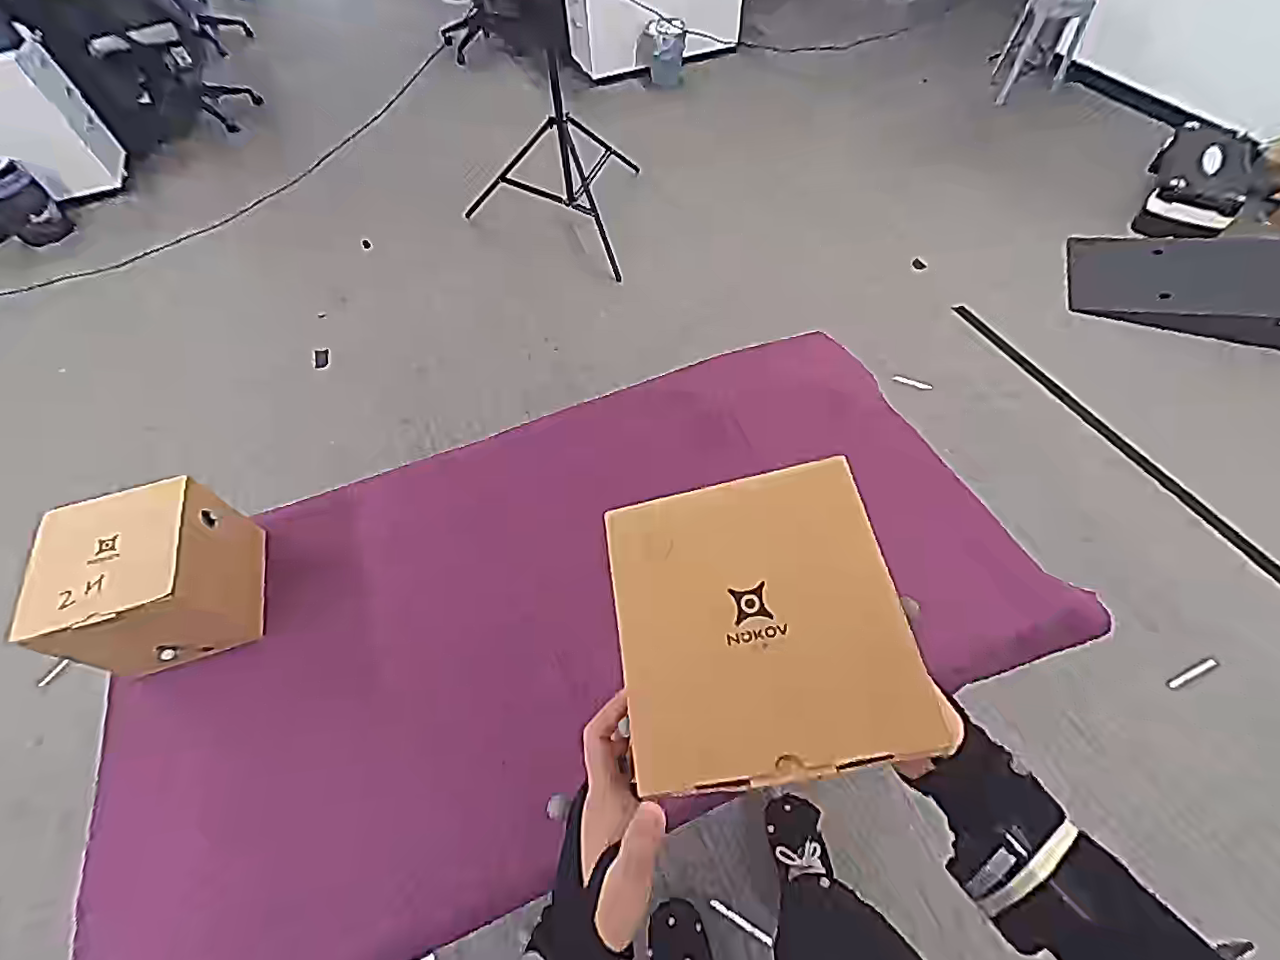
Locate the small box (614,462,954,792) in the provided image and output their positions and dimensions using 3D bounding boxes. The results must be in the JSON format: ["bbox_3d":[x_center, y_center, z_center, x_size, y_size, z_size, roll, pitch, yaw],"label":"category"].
[{"bbox_3d":[0.088,0.115,0.395,0.168,0.176,0.179,-14,61,7],"label":"small box"}]

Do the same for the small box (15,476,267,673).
[{"bbox_3d":[-0.620,0.126,0.703,0.168,0.176,0.179,-17,60,-9],"label":"small box"}]
